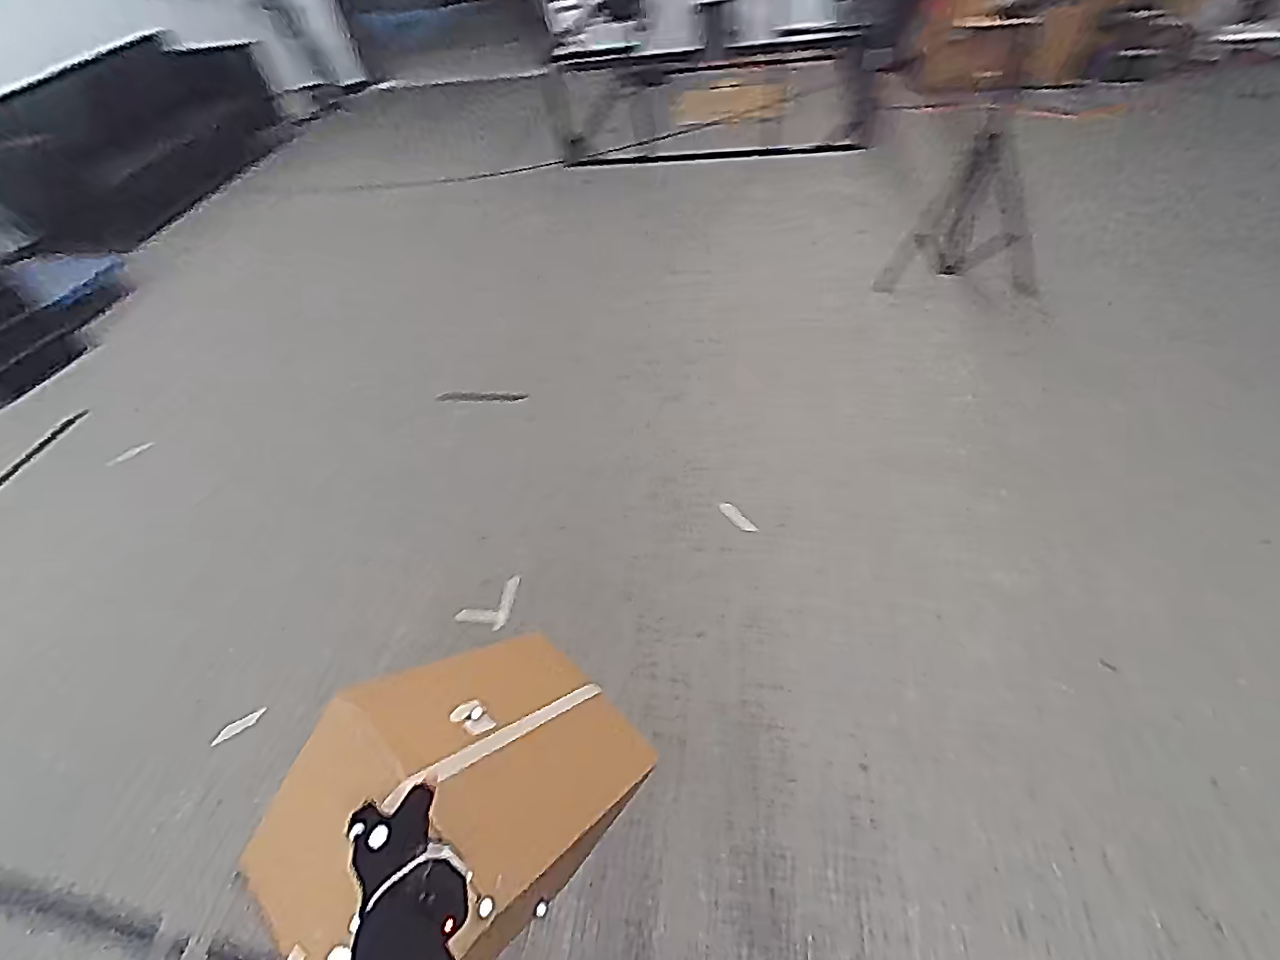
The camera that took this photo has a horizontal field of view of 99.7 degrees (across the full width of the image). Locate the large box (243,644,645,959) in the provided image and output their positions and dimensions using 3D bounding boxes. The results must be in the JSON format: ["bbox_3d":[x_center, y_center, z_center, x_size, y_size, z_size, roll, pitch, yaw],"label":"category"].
[{"bbox_3d":[-0.263,0.504,0.805,0.320,0.408,0.320,37,104,24],"label":"large box"}]
